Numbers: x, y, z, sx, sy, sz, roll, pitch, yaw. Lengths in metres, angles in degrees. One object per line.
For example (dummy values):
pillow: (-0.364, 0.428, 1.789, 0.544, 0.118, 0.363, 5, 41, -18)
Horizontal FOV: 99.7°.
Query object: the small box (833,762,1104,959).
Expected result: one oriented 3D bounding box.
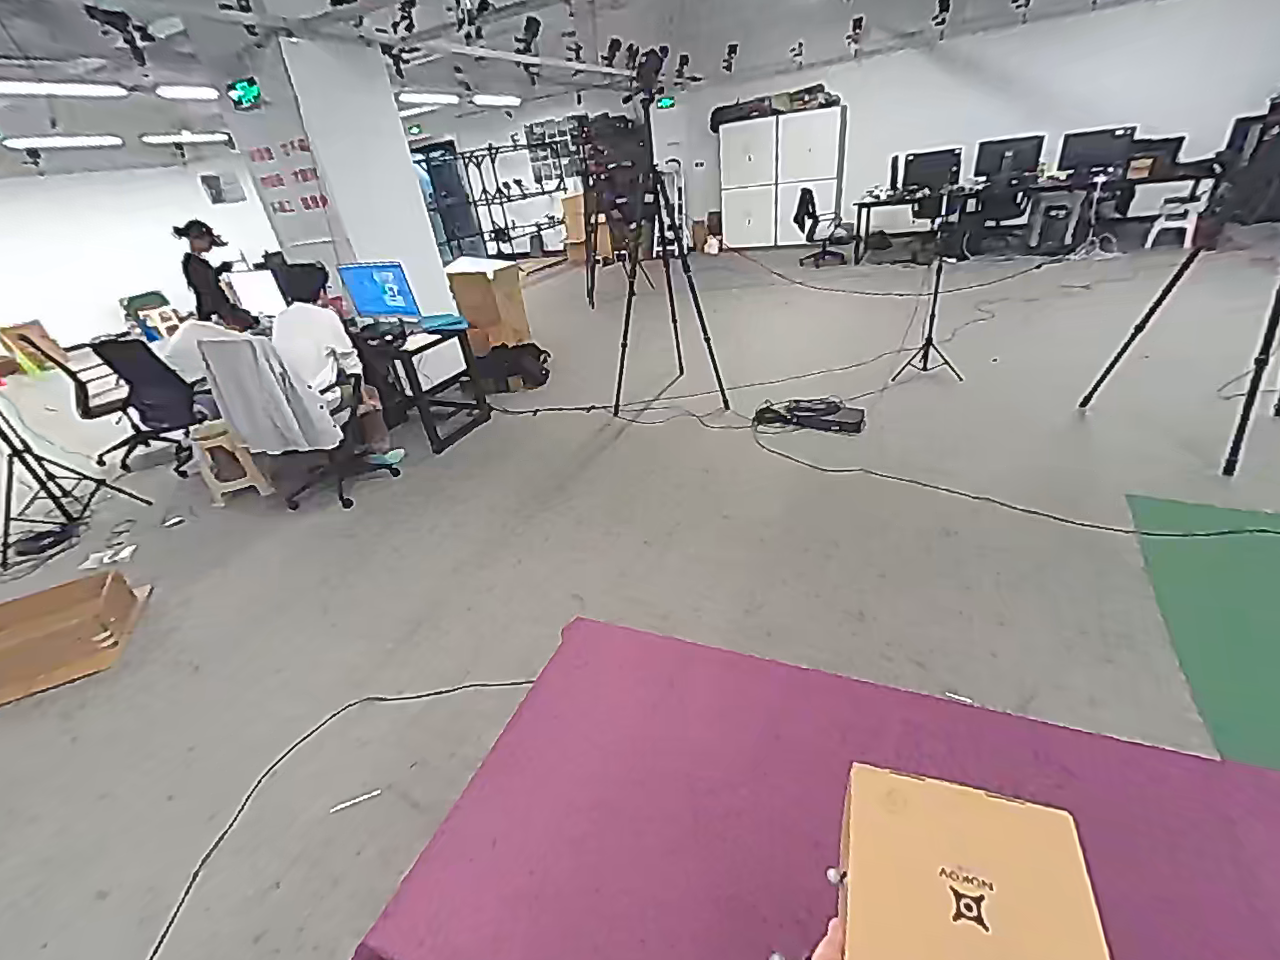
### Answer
small box: (0.250, 0.376, 0.442, 0.168, 0.176, 0.179, 4, 37, 21)
